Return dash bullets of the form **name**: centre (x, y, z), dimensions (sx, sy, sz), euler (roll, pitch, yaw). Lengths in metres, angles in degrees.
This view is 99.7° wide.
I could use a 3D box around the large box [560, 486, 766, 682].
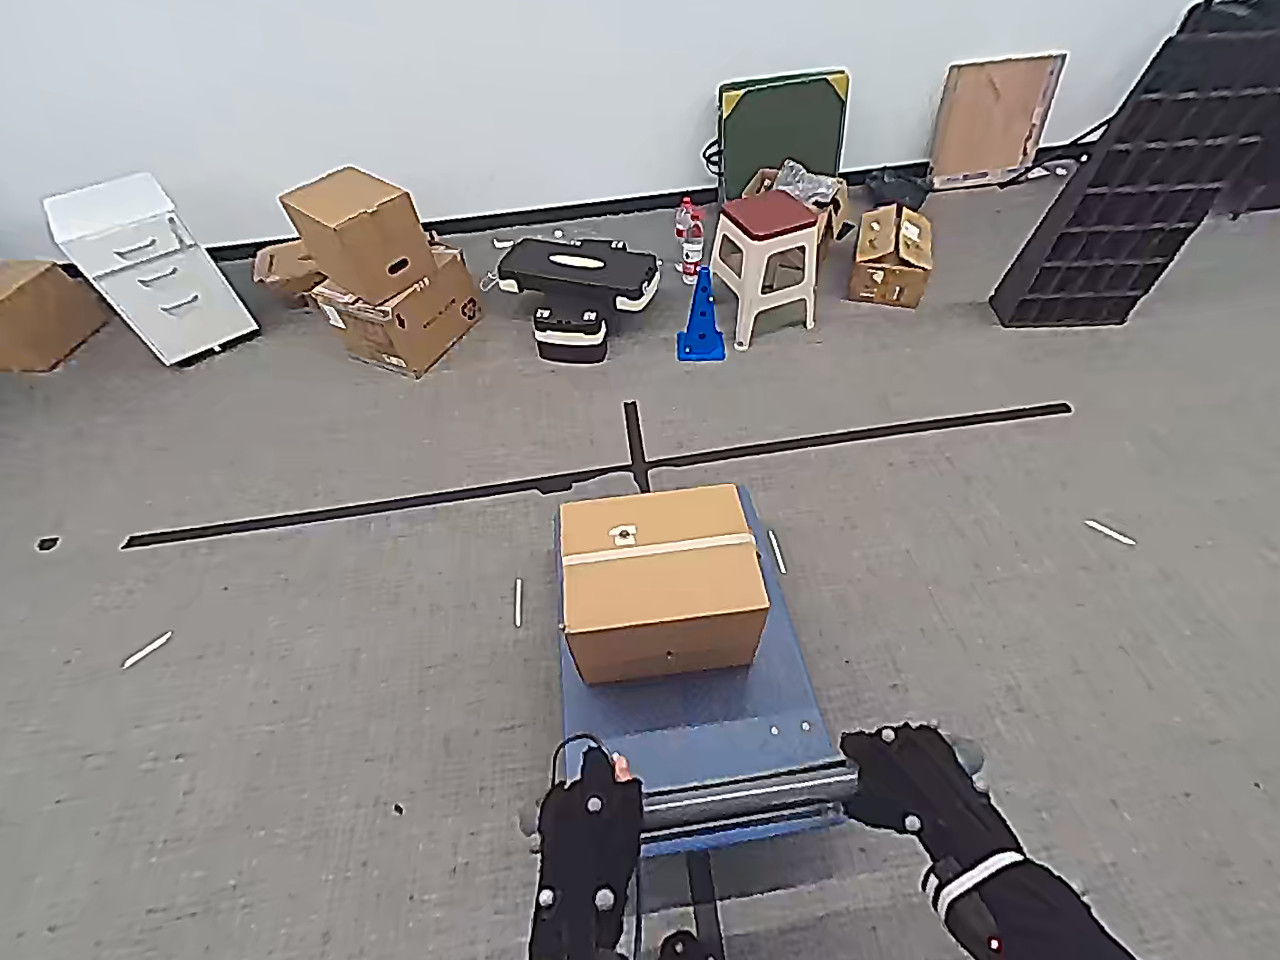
- **large box**: centre (0.043, 0.248, 1.258), dimensions (0.408, 0.320, 0.320), euler (-7, 52, -1)
